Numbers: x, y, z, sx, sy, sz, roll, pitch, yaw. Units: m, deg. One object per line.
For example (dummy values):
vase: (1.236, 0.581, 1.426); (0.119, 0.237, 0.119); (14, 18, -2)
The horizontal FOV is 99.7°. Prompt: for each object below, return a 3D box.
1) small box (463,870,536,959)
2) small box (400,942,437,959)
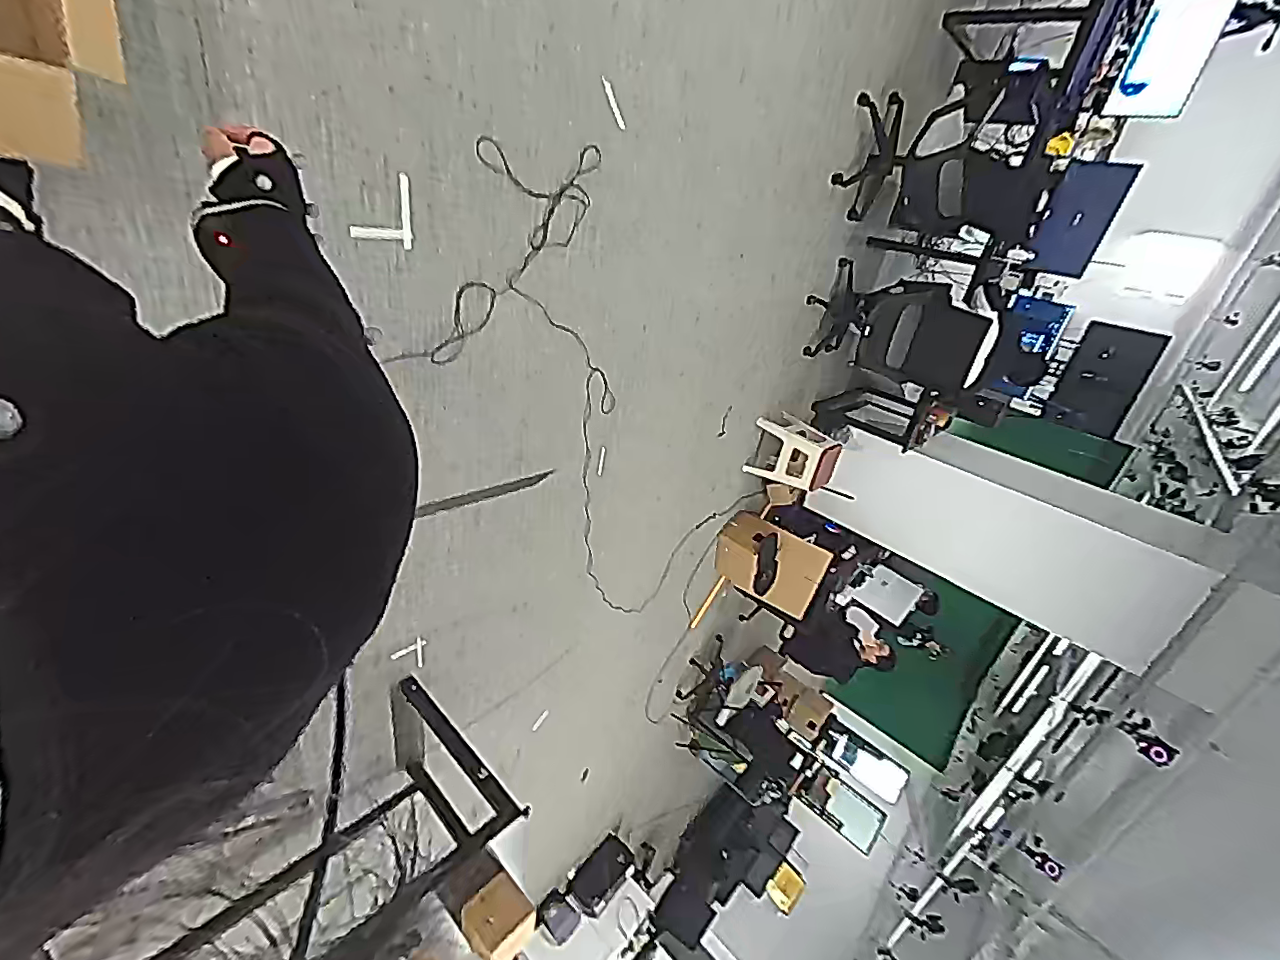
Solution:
small box: (-0.453, 1.407, 1.736); (0.168, 0.176, 0.179); (-22, 132, -43)
small box: (-0.640, 1.472, 1.528); (0.168, 0.176, 0.179); (-22, 131, -45)
